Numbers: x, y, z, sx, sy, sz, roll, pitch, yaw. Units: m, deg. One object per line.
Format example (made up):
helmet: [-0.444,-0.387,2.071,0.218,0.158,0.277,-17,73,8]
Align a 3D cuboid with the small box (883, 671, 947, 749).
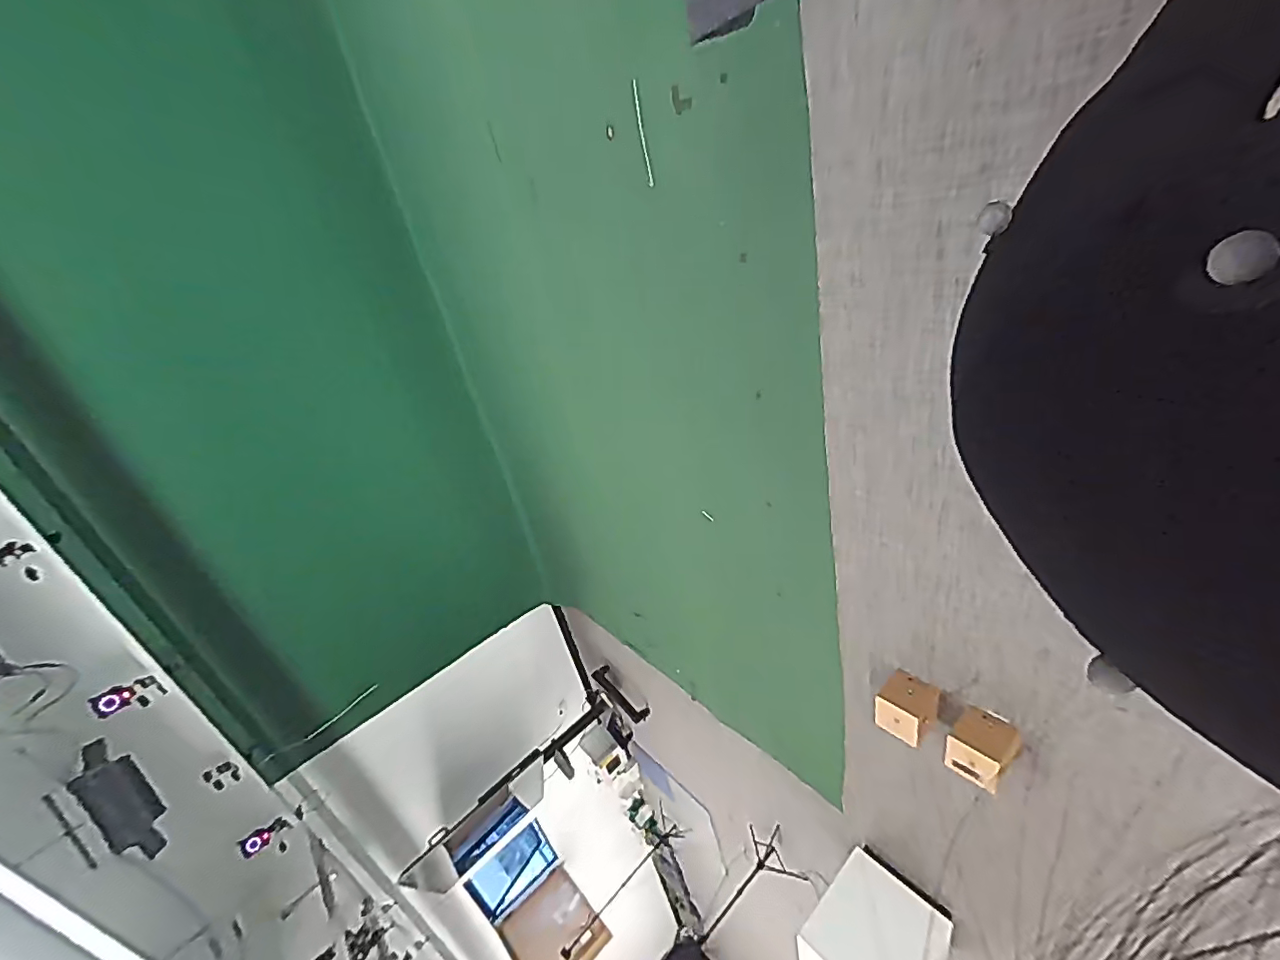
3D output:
small box: [1.057,0.875,2.076,0.168,0.176,0.179,23,134,48]
